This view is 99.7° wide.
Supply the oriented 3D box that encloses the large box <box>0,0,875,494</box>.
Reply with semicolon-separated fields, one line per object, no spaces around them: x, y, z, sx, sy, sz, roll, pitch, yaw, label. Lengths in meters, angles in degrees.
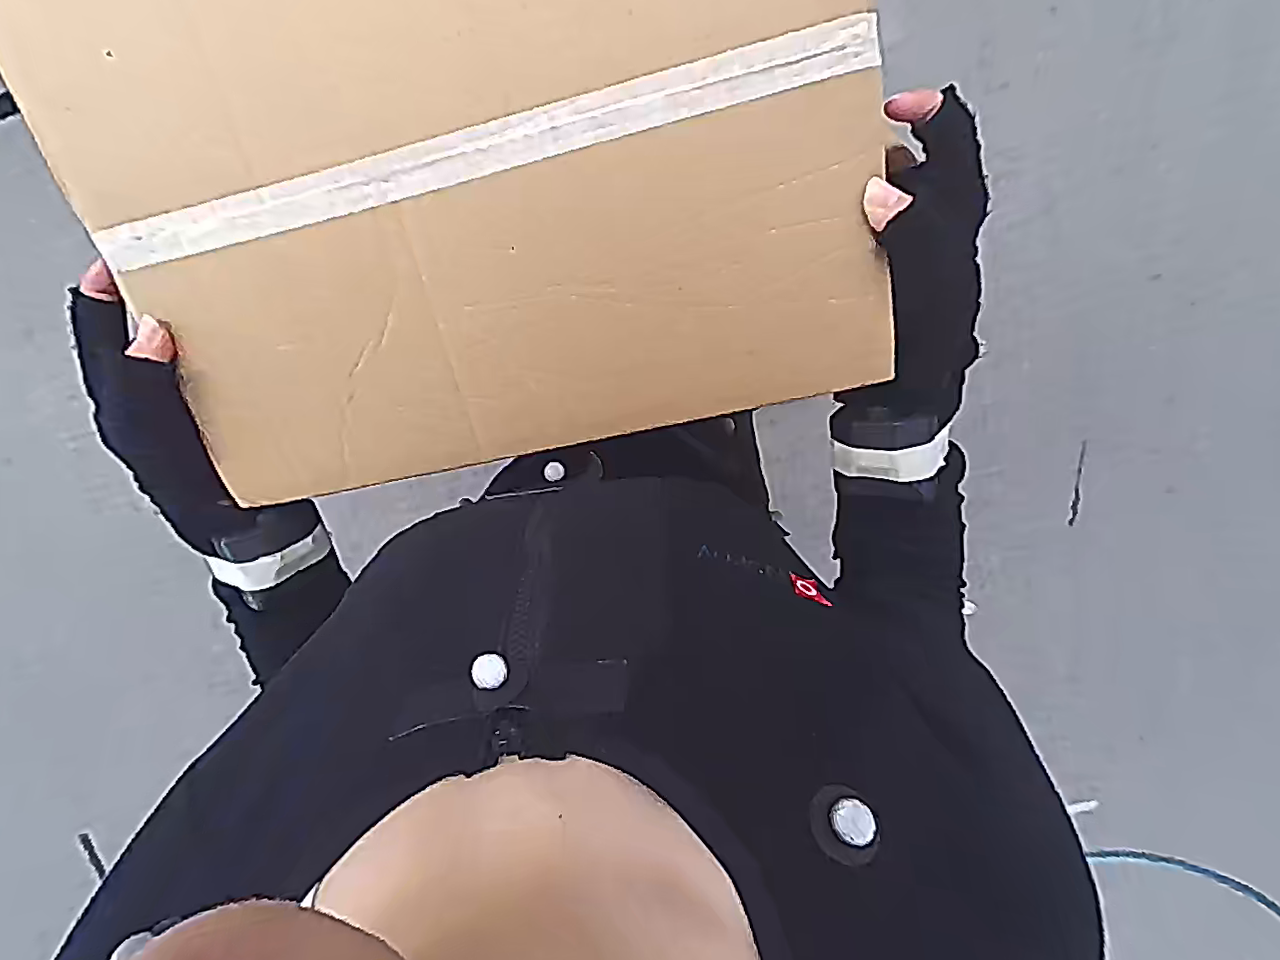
-0.084;-0.224;0.415;0.408;0.320;0.320;-11;111;7;large box
